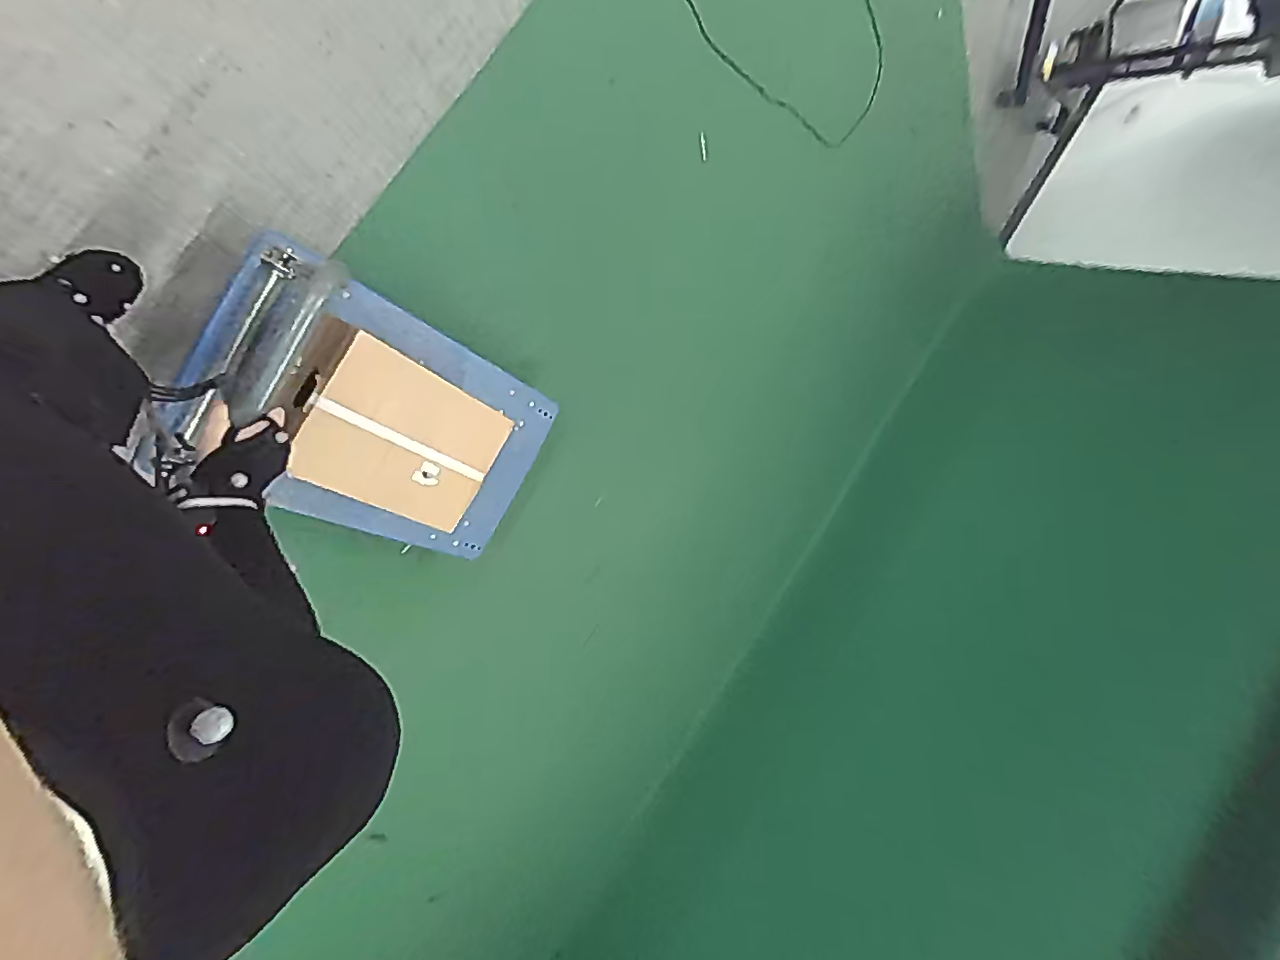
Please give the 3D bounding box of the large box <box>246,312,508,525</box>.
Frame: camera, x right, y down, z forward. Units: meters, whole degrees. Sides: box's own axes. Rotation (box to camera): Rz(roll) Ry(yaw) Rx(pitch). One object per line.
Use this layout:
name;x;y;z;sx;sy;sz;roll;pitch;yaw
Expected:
large box;-0.606;-0.139;1.266;0.408;0.320;0.320;33;86;-48
